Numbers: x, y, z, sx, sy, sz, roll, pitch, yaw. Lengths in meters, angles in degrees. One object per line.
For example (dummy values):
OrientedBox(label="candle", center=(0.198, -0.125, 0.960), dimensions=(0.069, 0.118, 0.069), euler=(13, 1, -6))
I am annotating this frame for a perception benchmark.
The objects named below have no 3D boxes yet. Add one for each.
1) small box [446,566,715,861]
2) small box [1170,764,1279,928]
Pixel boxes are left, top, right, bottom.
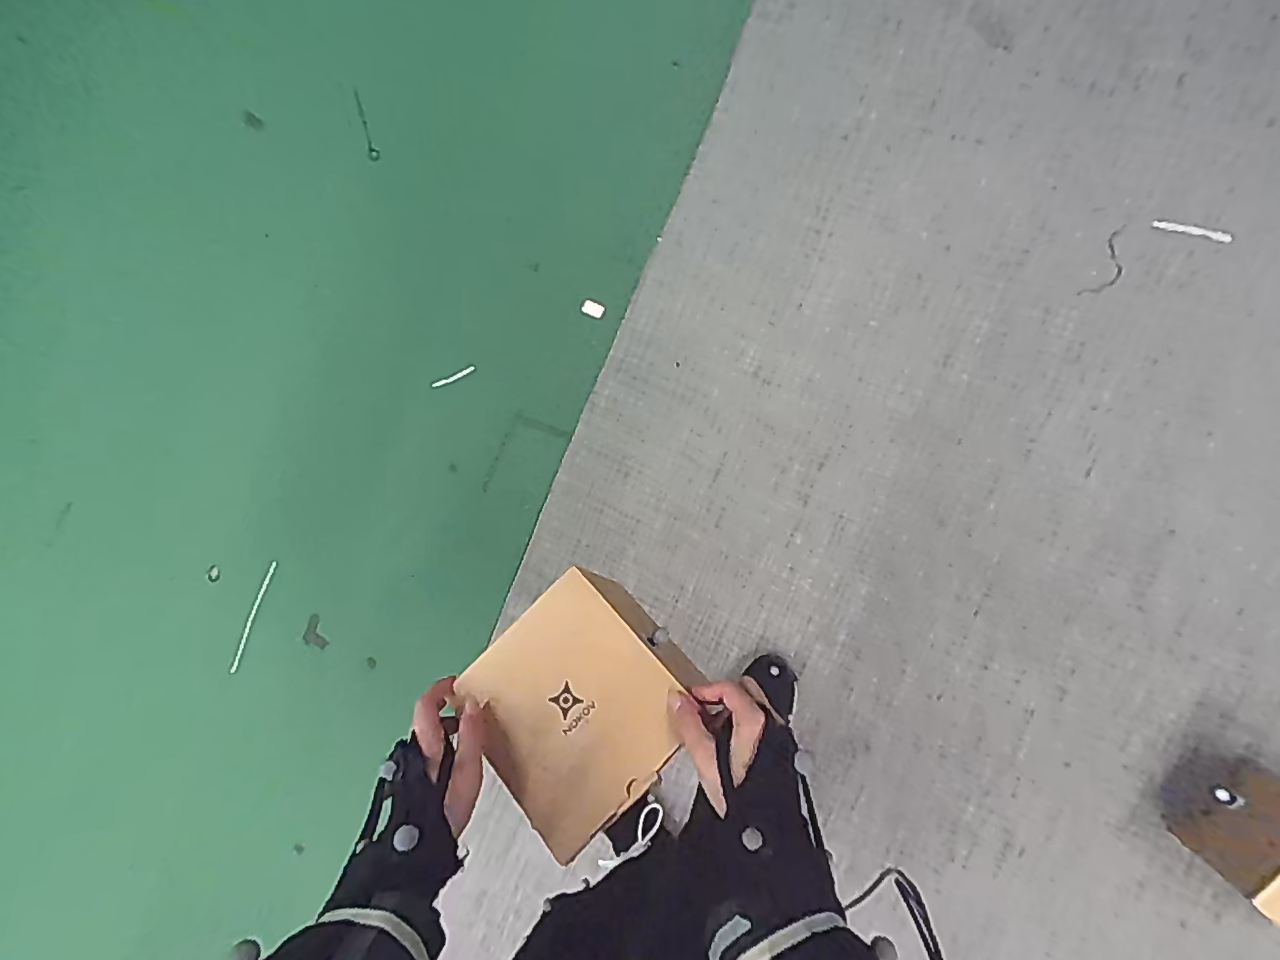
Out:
OrientedBox(label="small box", center=(-0.044, 0.212, 0.530), dimensions=(0.168, 0.176, 0.179), euler=(-45, 71, -4))
OrientedBox(label="small box", center=(0.902, 0.528, 0.727), dimensions=(0.179, 0.176, 0.168), euler=(40, 97, 16))
